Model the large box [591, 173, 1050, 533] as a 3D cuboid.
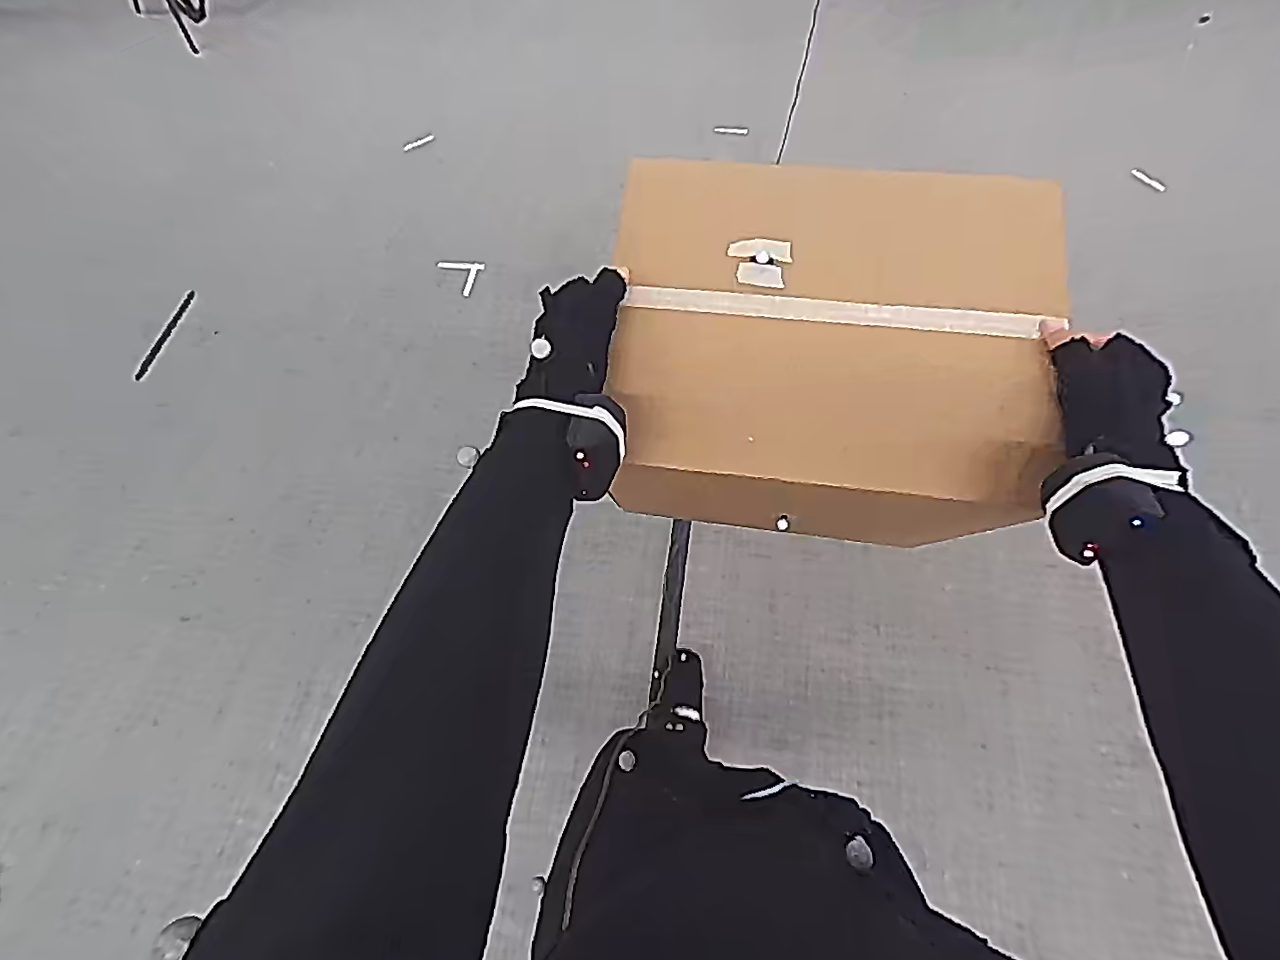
[{"bbox_3d":[0.184,-0.121,0.650,0.408,0.320,0.320,7,77,7],"label":"large box"}]
